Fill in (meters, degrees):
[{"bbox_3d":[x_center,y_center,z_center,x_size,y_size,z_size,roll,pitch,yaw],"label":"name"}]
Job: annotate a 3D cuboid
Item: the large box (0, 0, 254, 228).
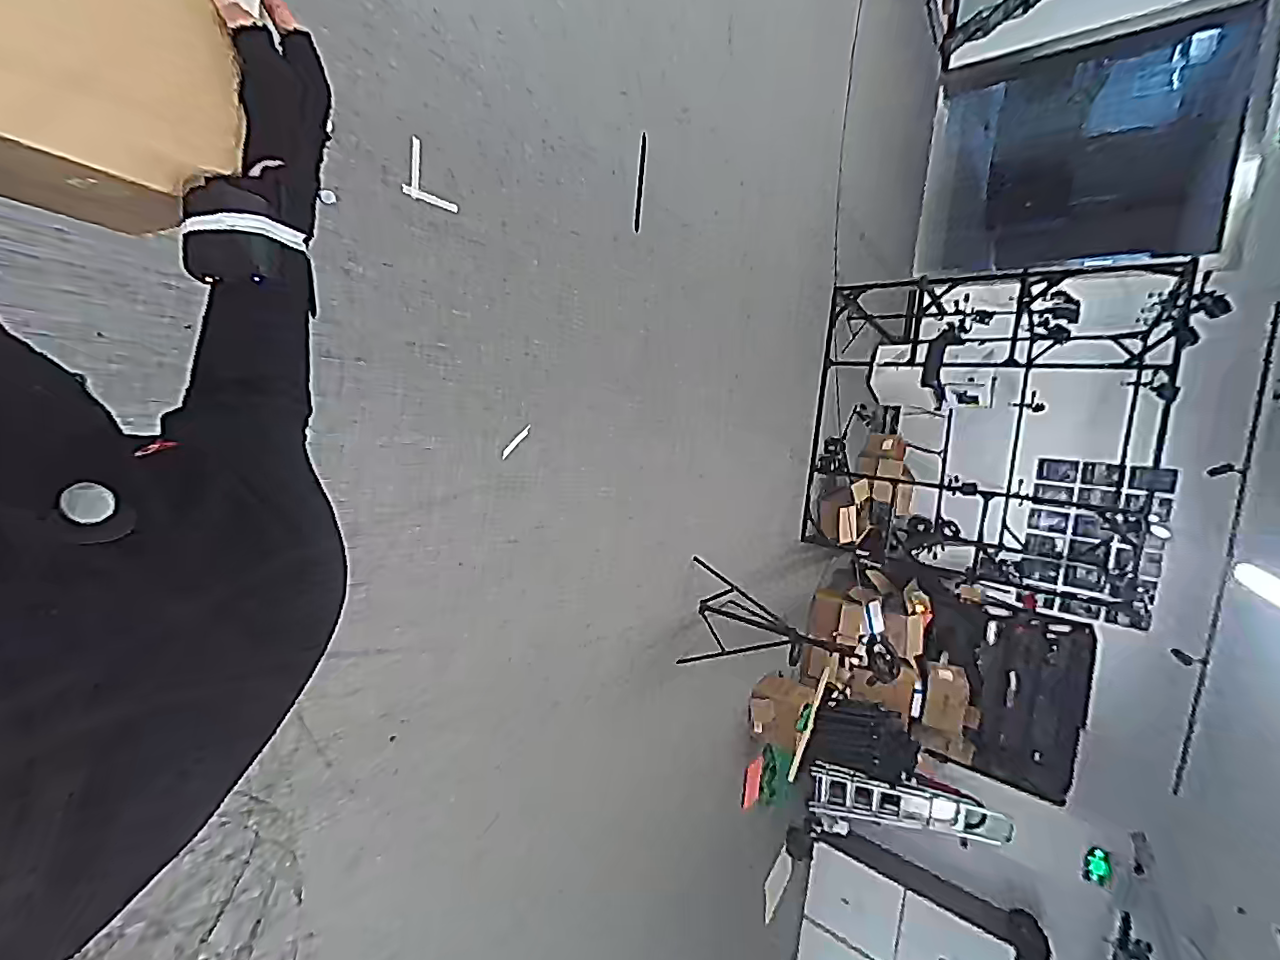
[{"bbox_3d":[-0.537,-0.398,0.346,0.408,0.320,0.320,2,102,-55],"label":"large box"}]
